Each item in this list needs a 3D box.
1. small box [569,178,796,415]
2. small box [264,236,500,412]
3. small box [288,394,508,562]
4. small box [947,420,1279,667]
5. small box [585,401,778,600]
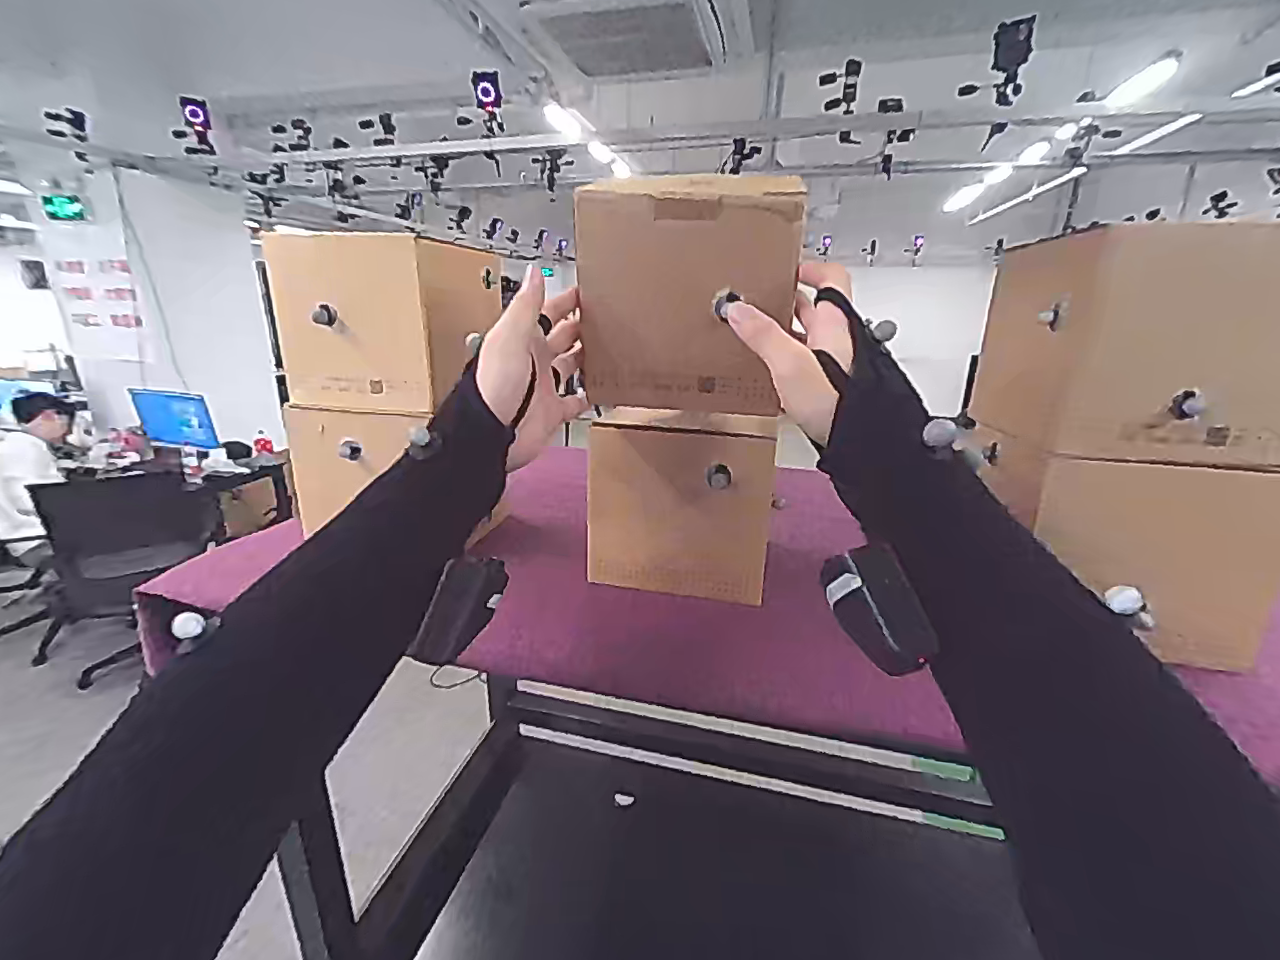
[{"bbox_3d":[0.048,-0.170,0.489,0.168,0.176,0.179,6,33,11],"label":"small box"},{"bbox_3d":[-0.268,-0.170,0.607,0.168,0.176,0.179,4,17,11],"label":"small box"},{"bbox_3d":[-0.274,-0.013,0.649,0.179,0.176,0.168,5,18,10],"label":"small box"},{"bbox_3d":[0.411,0.047,0.495,0.179,0.176,0.168,5,16,13],"label":"small box"},{"bbox_3d":[0.050,0.013,0.584,0.179,0.176,0.168,5,17,14],"label":"small box"}]
